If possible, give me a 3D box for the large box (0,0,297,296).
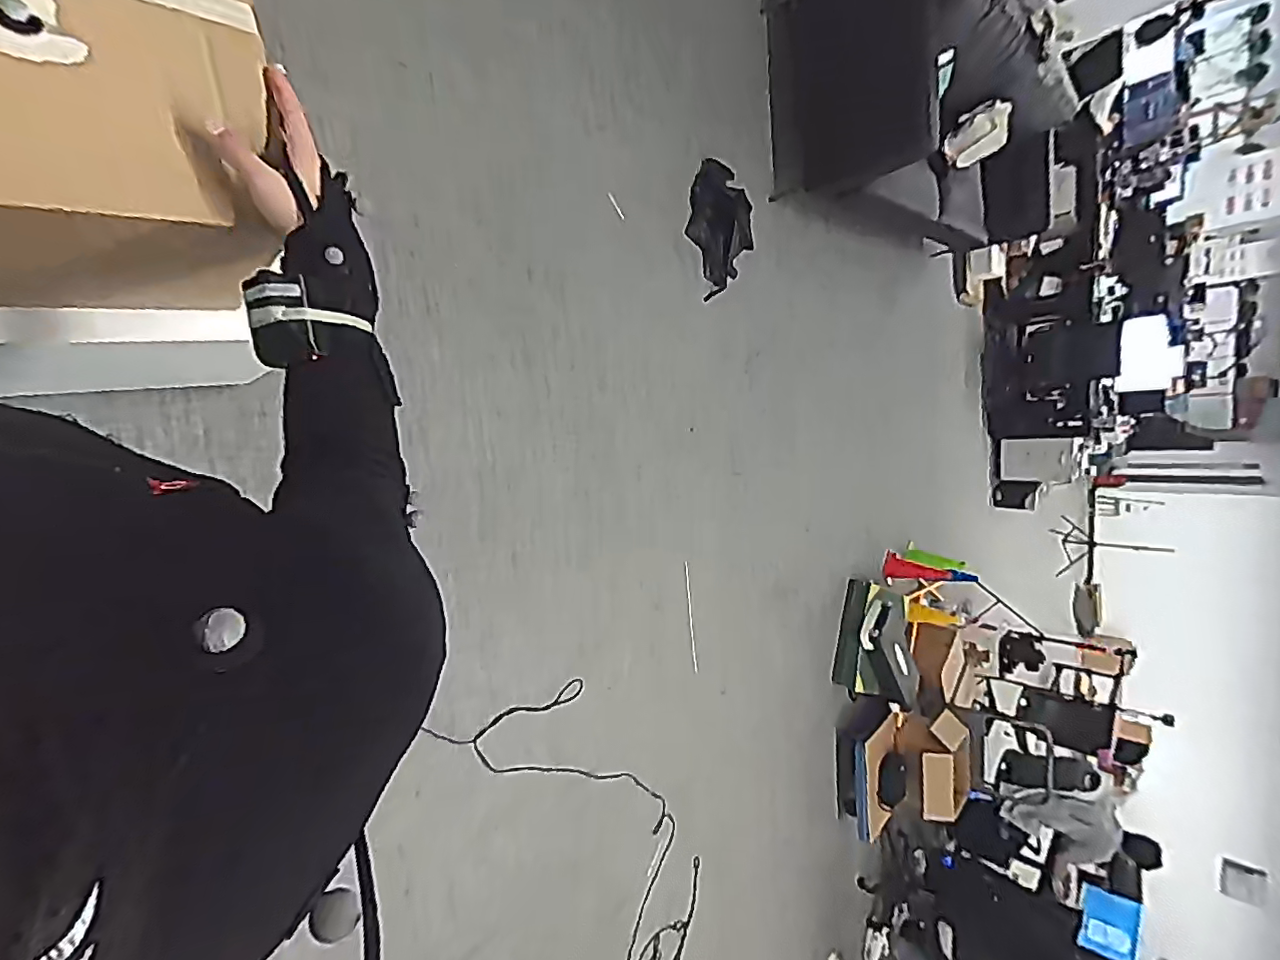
[{"bbox_3d":[-0.553,-0.328,0.400,0.408,0.320,0.320,-17,104,-44],"label":"large box"}]
